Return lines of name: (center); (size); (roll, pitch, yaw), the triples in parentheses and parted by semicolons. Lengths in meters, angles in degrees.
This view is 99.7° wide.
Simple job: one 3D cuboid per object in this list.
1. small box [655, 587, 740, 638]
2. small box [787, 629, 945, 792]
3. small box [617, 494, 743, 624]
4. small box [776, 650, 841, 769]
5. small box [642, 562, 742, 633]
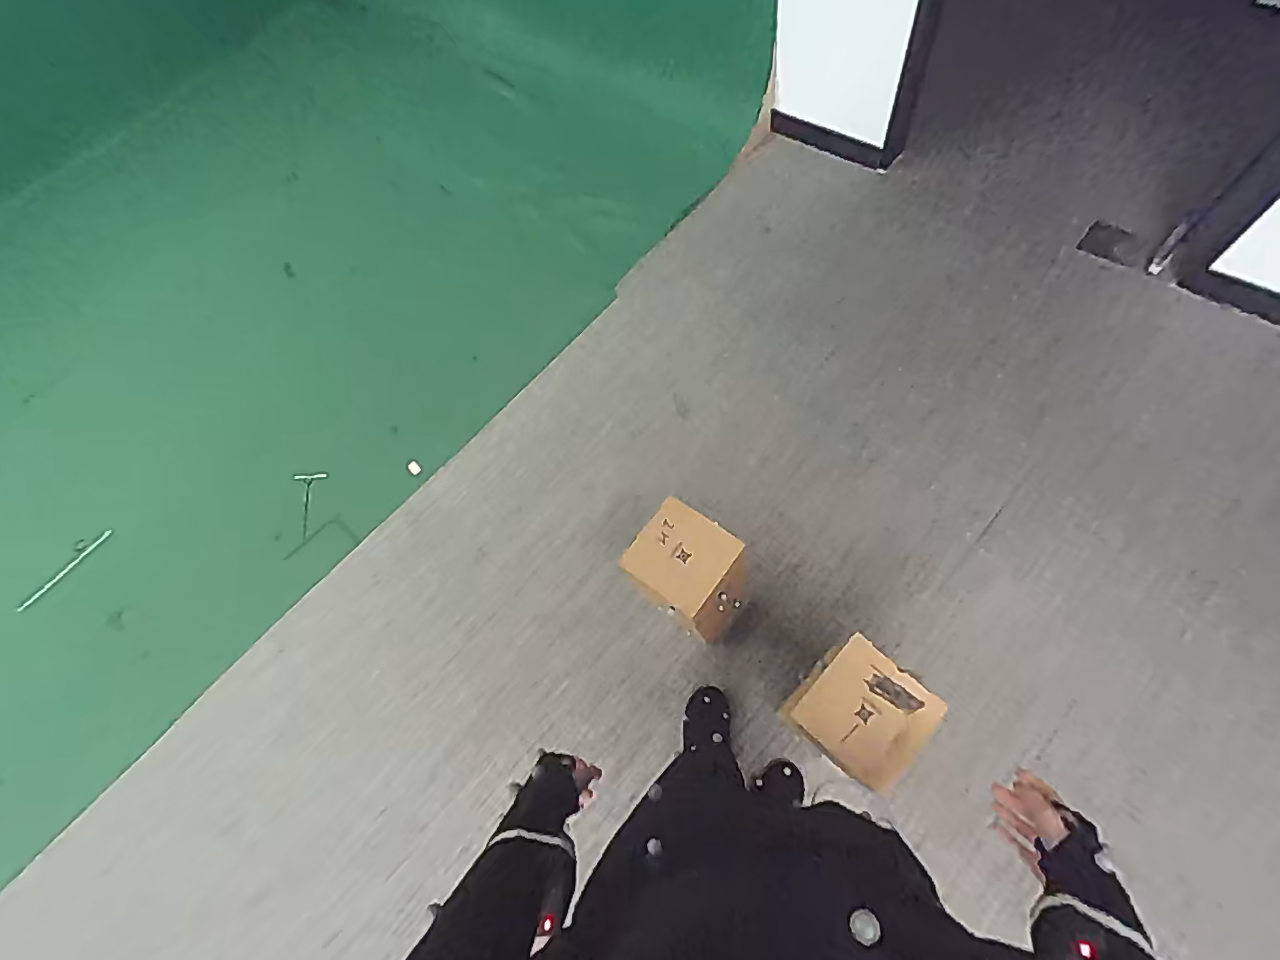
small box: (0.140, 0.280, 1.357); (0.179, 0.176, 0.168); (33, 76, 23)
small box: (0.361, 0.380, 0.905); (0.168, 0.176, 0.179); (39, 79, 24)
small box: (0.085, 0.162, 1.054); (0.179, 0.176, 0.168); (34, 76, 23)
small box: (0.420, 0.508, 1.203); (0.168, 0.176, 0.179); (40, 79, 23)
small box: (0.111, 0.221, 1.207); (0.179, 0.176, 0.168); (33, 76, 22)
